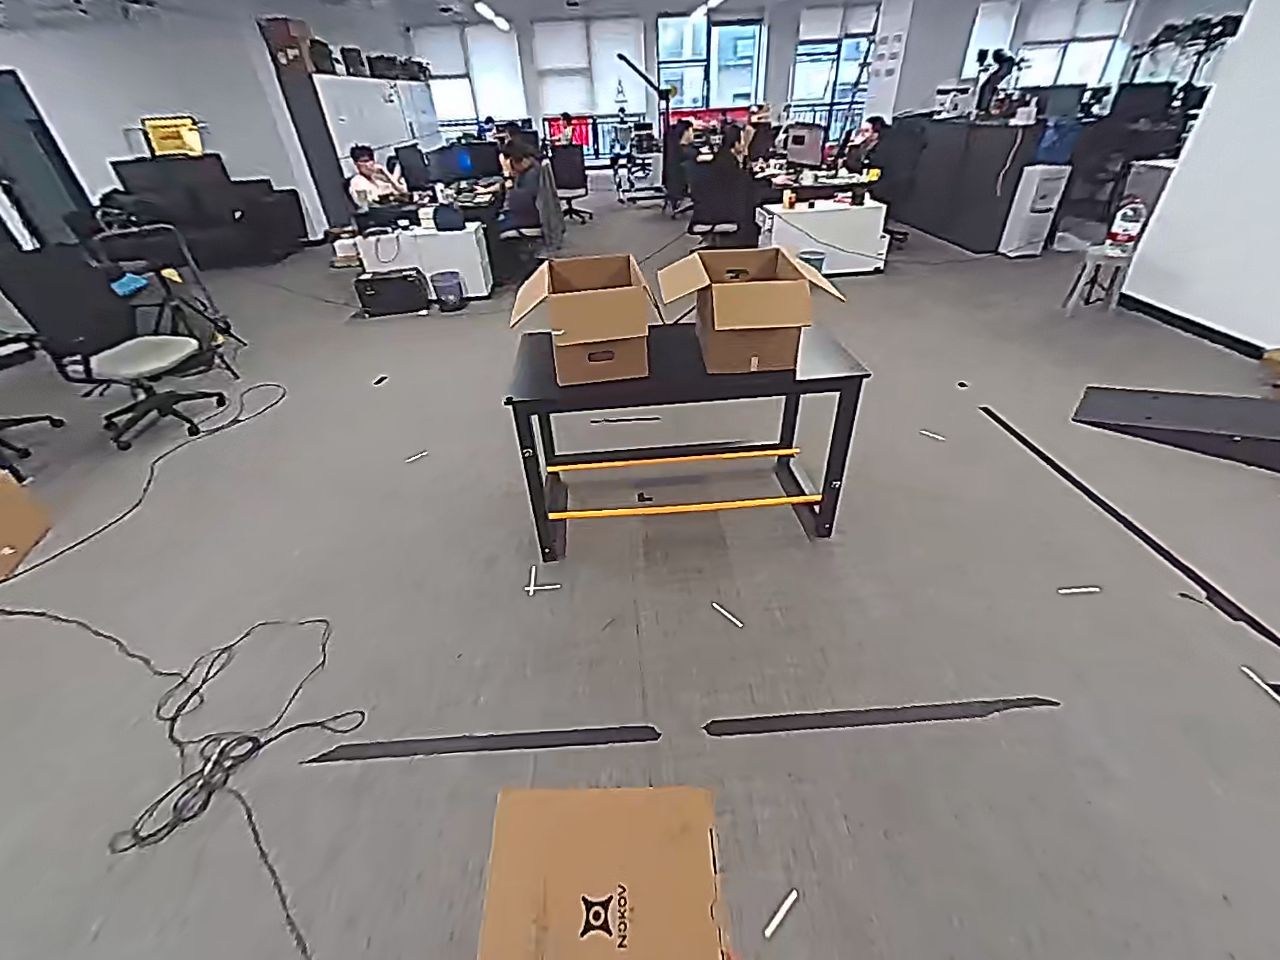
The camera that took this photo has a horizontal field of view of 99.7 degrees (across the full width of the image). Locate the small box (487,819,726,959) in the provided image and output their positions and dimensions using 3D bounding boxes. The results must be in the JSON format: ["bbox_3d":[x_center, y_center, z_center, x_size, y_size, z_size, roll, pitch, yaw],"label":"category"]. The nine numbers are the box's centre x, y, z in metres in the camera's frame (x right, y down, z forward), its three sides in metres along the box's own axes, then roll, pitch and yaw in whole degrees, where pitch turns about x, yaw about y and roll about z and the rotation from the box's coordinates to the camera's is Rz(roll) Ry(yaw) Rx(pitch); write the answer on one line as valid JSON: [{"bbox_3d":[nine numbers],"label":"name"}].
[{"bbox_3d":[-0.025,0.396,0.451,0.179,0.176,0.168,-2,47,-1],"label":"small box"}]
